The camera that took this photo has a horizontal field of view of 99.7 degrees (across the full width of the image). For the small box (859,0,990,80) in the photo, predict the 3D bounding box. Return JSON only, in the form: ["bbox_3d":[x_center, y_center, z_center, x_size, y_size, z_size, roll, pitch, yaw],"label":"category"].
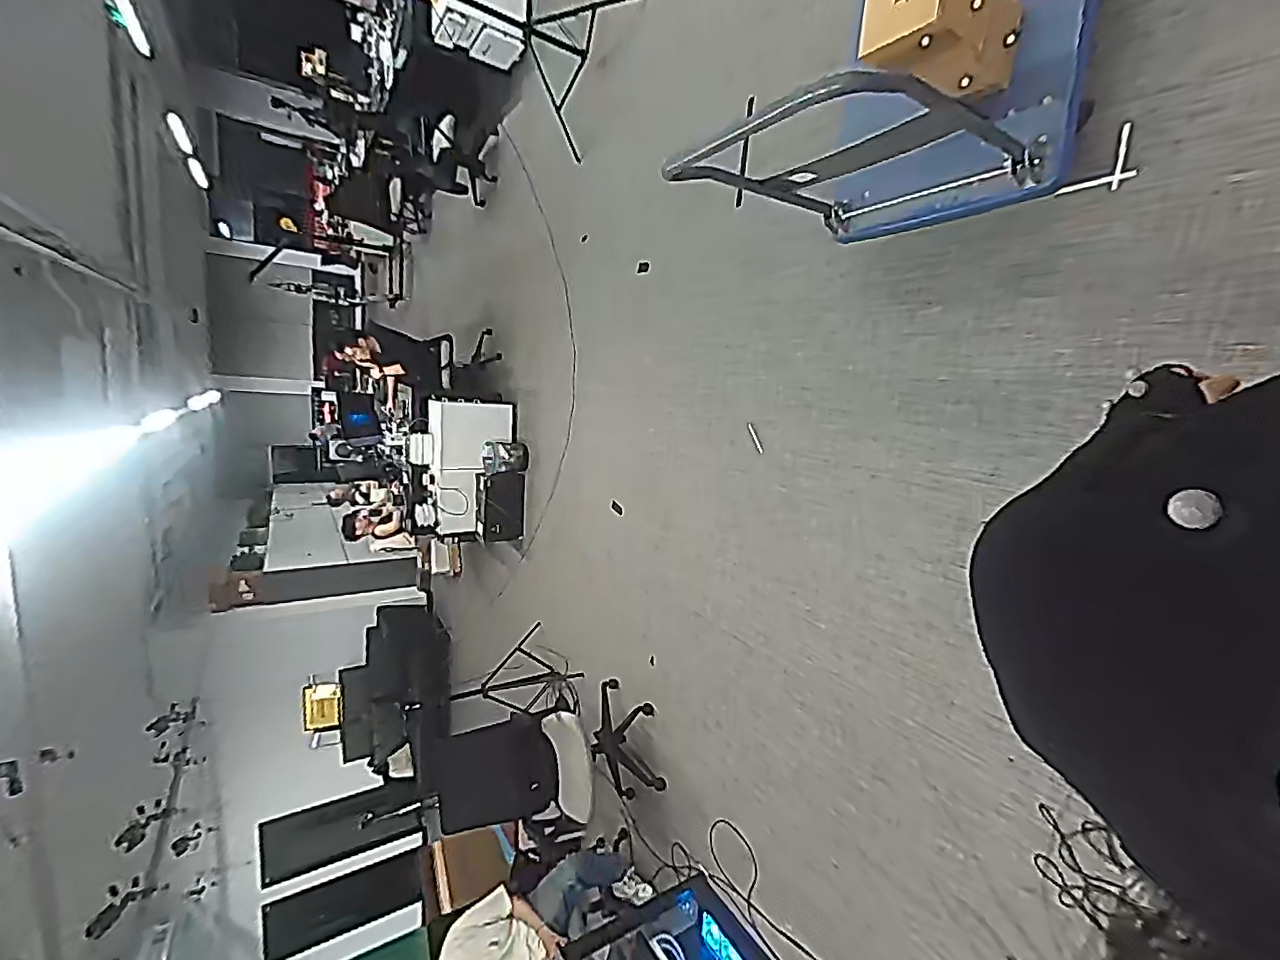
[{"bbox_3d":[0.584,-0.965,1.105,0.179,0.176,0.168,19,108,54],"label":"small box"}]
